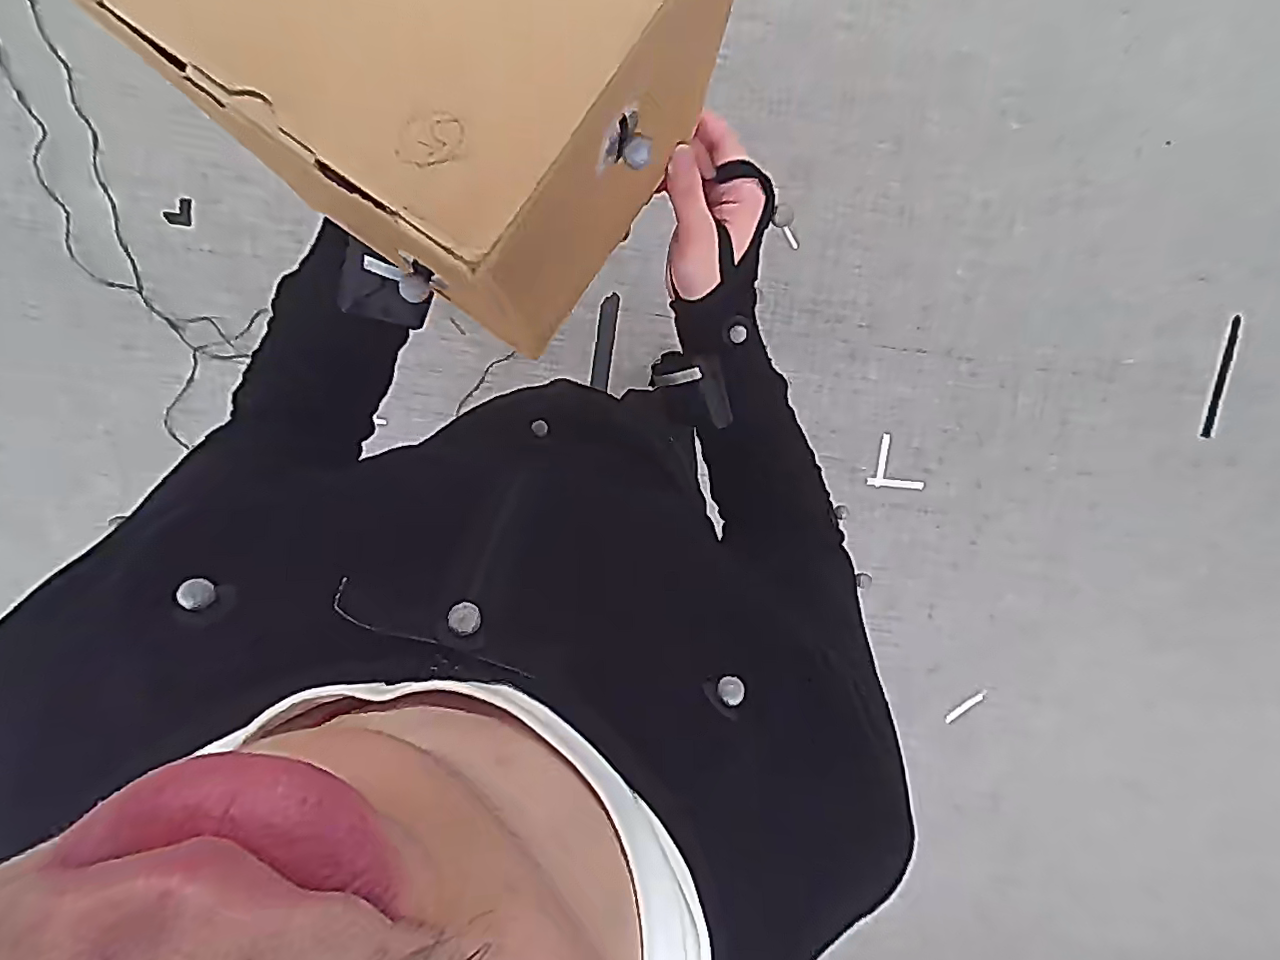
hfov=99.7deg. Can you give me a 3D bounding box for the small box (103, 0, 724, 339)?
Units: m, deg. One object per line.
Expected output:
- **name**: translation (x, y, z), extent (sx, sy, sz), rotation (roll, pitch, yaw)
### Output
- **small box**: translation (-0.073, -0.192, 0.256), extent (0.168, 0.176, 0.179), rotation (34, 89, -6)
